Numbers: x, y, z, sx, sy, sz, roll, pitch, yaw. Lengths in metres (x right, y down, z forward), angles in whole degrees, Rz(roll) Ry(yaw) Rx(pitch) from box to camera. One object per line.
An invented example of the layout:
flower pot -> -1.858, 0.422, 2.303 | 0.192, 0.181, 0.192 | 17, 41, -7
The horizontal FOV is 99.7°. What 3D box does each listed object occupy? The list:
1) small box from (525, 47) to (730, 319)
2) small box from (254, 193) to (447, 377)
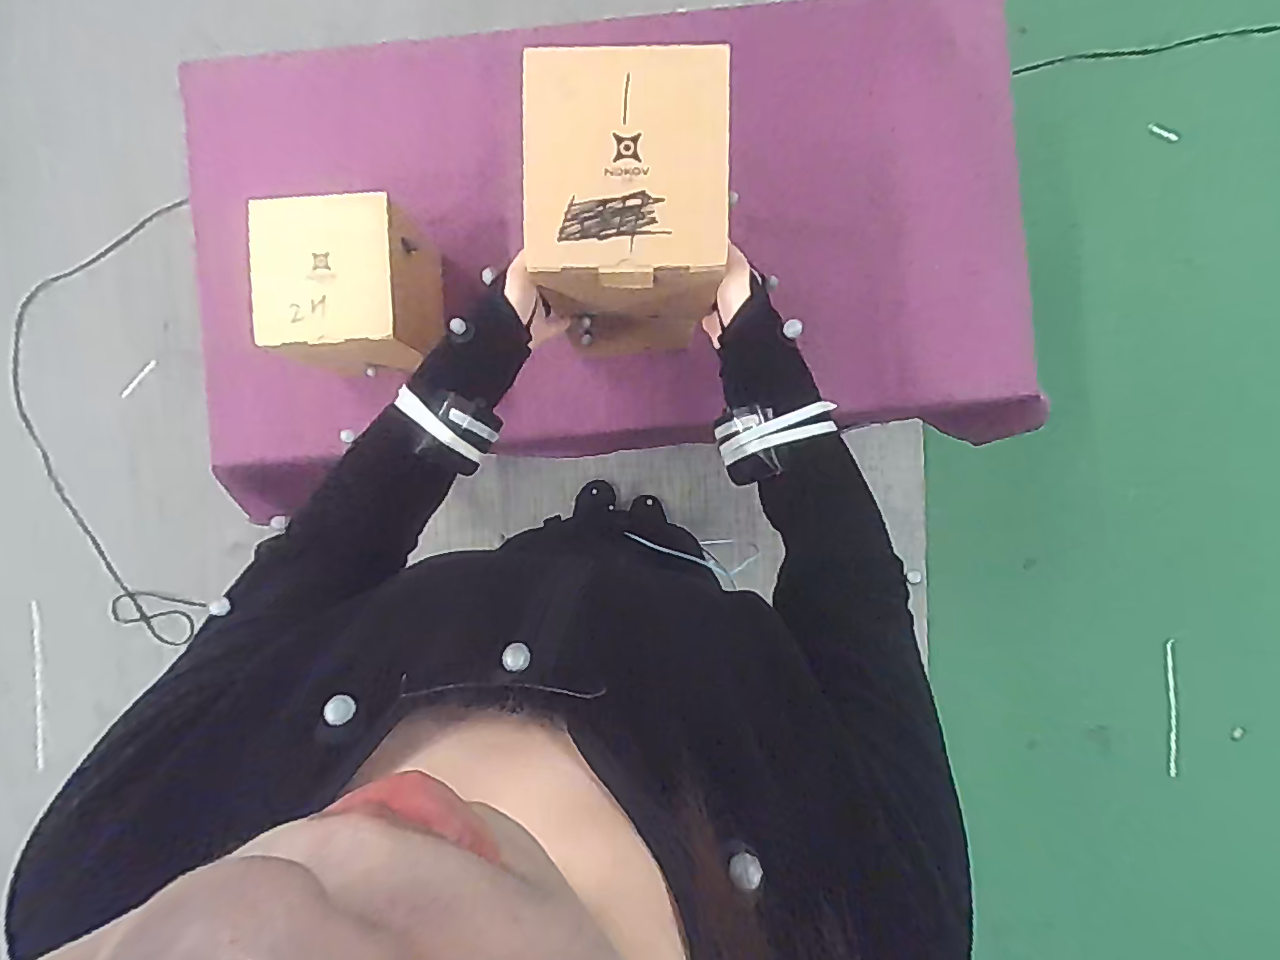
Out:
small box -> -0.008, -0.258, 0.512 | 0.168, 0.176, 0.179 | 0, 91, 1
small box -> -0.366, -0.243, 0.709 | 0.168, 0.176, 0.179 | -3, 89, 1
